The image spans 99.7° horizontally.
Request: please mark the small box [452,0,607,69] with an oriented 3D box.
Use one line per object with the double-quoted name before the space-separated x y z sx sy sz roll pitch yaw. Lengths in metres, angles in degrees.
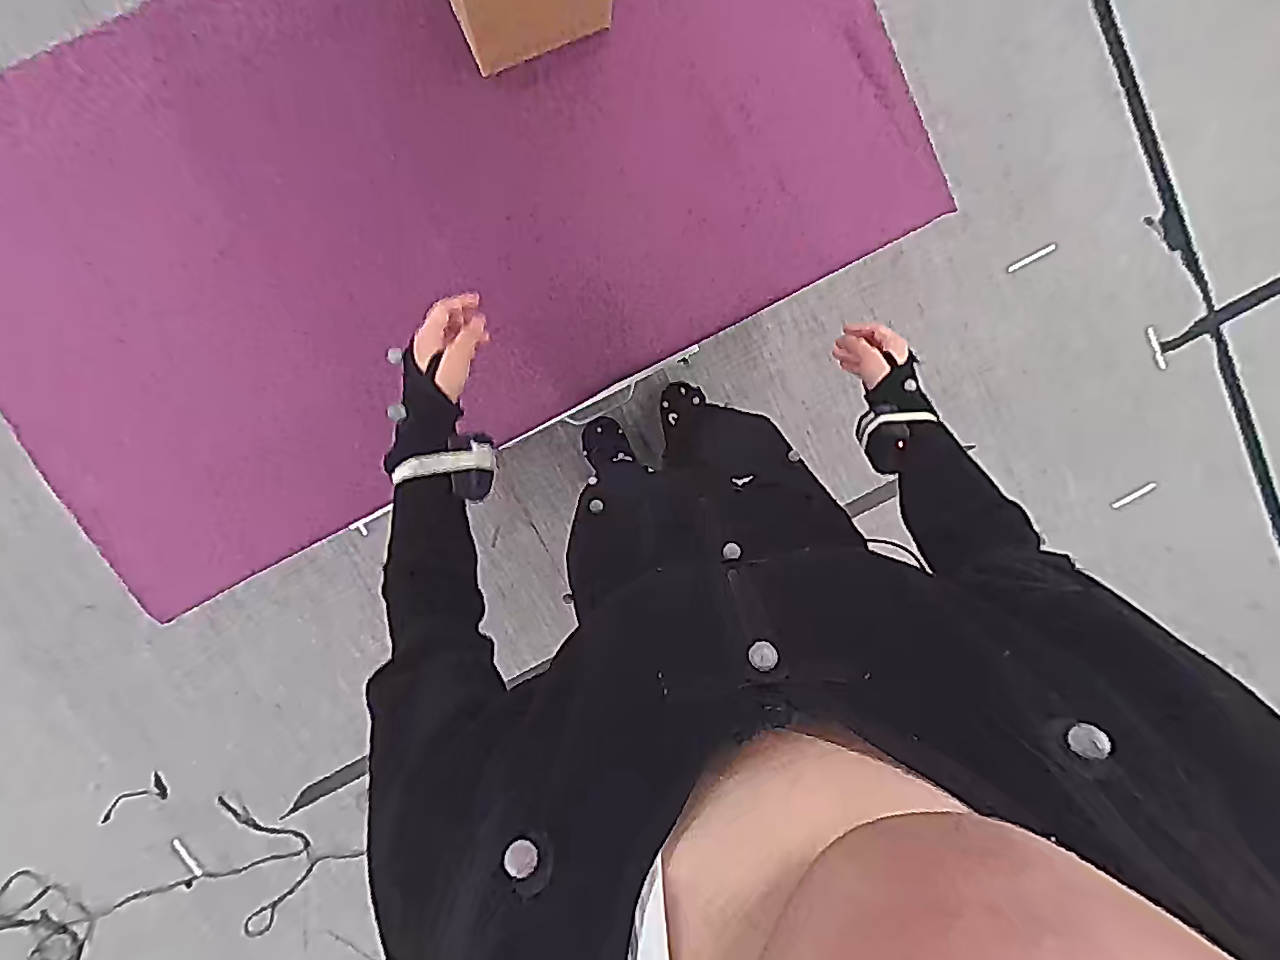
"small box" -0.135 -0.595 0.575 0.179 0.176 0.168 -24 100 -2
